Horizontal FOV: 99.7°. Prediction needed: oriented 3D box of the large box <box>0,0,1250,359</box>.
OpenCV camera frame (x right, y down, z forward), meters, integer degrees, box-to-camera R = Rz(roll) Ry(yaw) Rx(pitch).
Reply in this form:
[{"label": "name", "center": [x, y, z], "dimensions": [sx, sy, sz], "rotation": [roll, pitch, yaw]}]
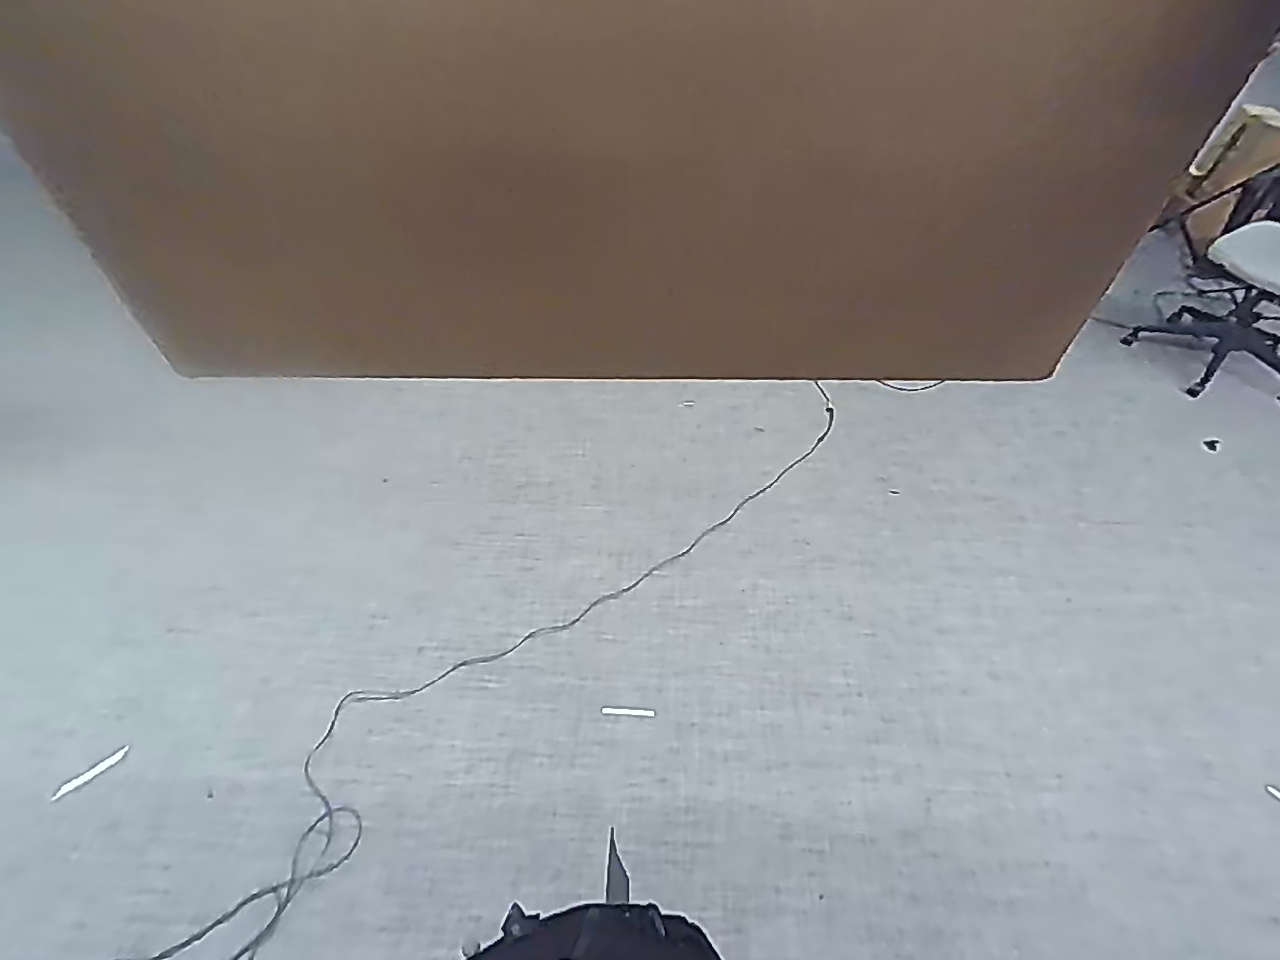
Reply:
[{"label": "large box", "center": [-0.009, -0.268, 0.251], "dimensions": [0.408, 0.320, 0.320], "rotation": [1, 47, -1]}]
